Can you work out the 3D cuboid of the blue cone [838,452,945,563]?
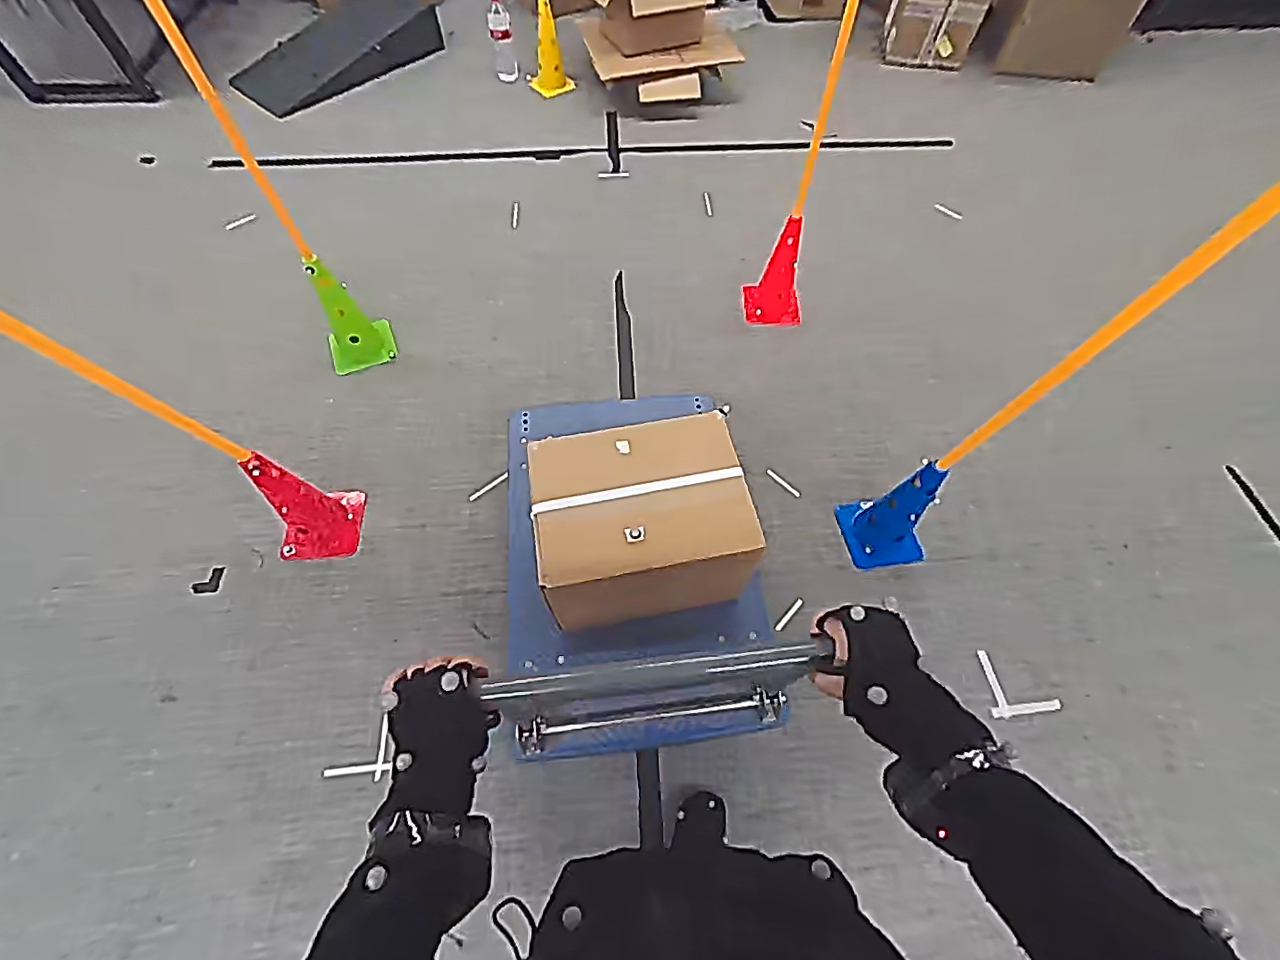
[{"bbox_3d":[0.673,0.055,1.376,0.193,0.380,0.192,-6,59,-5],"label":"blue cone"}]

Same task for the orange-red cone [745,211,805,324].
[{"bbox_3d":[0.486,-0.726,1.808,0.199,0.360,0.198,3,61,0],"label":"orange-red cone"}]
